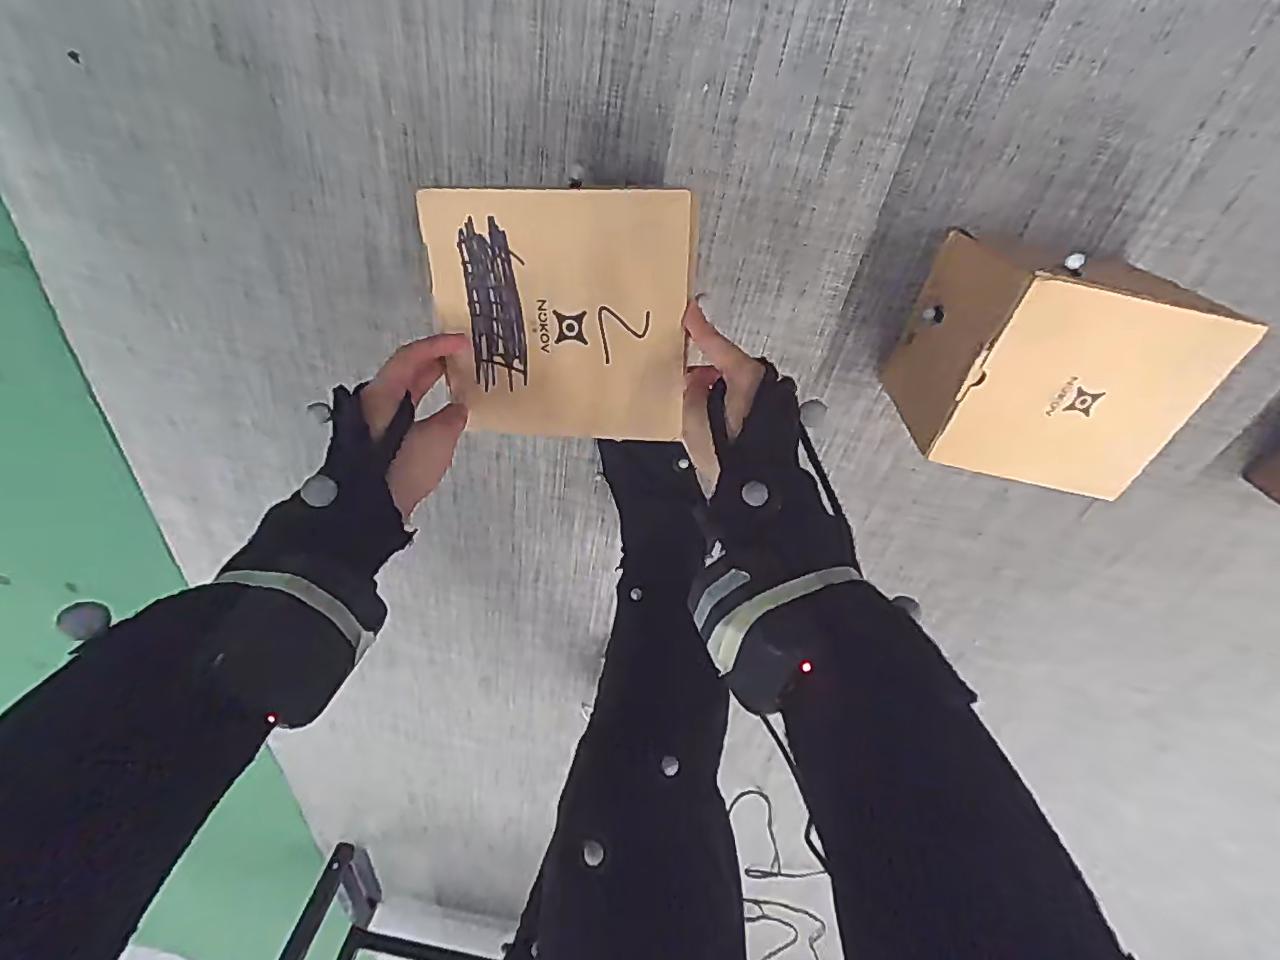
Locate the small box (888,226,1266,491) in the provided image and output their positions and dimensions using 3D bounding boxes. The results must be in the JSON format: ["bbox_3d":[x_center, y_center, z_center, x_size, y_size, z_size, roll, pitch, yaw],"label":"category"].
[{"bbox_3d":[0.361,-0.118,0.496,0.179,0.176,0.168,13,127,0],"label":"small box"}]
